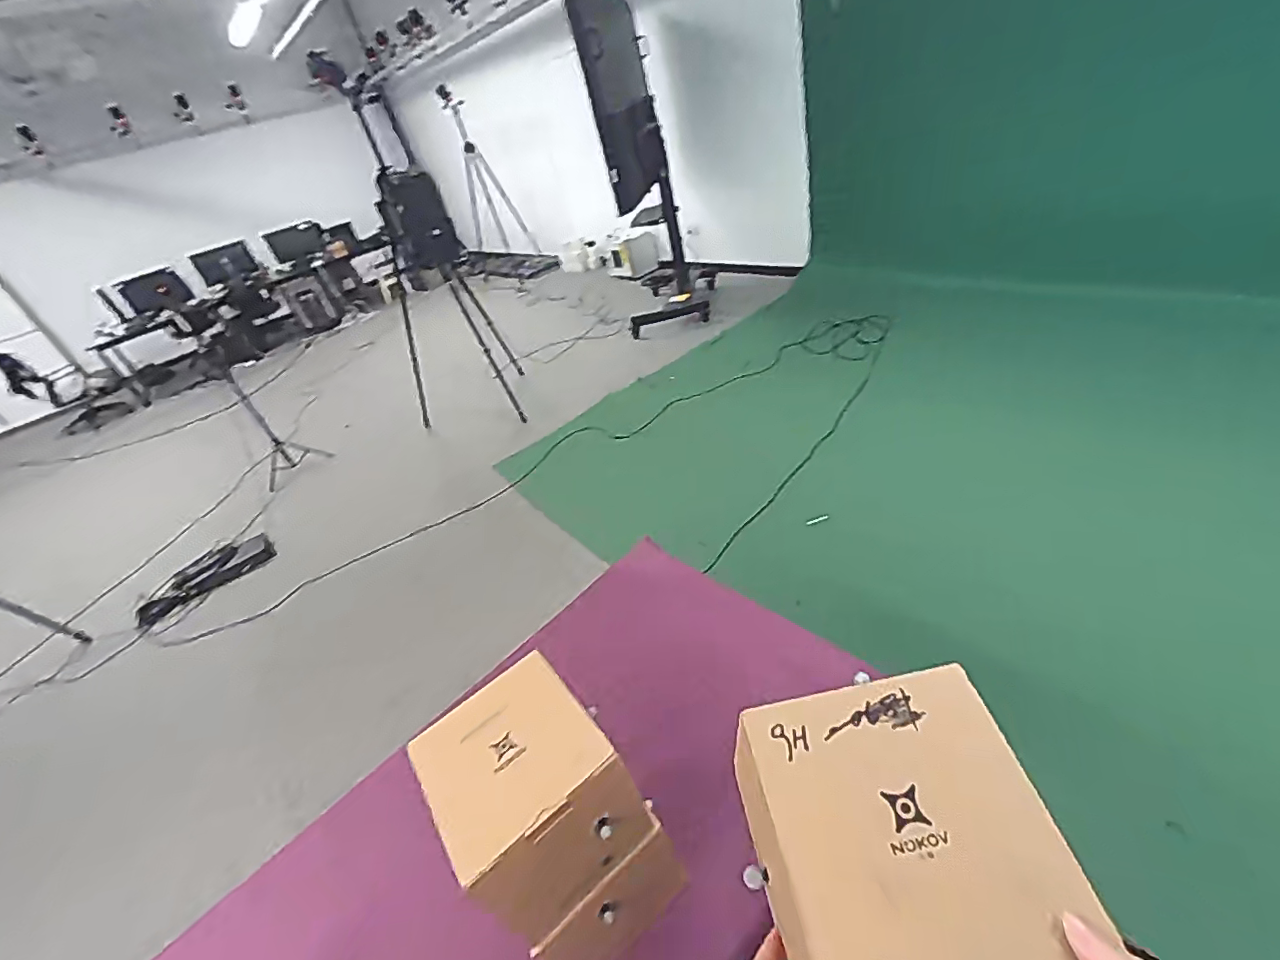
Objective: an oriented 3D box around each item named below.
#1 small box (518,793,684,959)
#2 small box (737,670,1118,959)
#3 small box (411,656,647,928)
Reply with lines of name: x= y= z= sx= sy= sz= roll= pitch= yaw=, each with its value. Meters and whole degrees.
small box: x=-0.068 y=0.471 z=0.679 sx=0.179 sy=0.176 sz=0.168 roll=-34 pitch=38 yaw=-22
small box: x=0.174 y=0.267 z=0.395 sx=0.168 sy=0.176 sz=0.179 roll=-12 pitch=50 yaw=-1
small box: x=-0.115 y=0.340 z=0.593 sx=0.168 sy=0.176 sz=0.179 roll=-33 pitch=37 yaw=-22
